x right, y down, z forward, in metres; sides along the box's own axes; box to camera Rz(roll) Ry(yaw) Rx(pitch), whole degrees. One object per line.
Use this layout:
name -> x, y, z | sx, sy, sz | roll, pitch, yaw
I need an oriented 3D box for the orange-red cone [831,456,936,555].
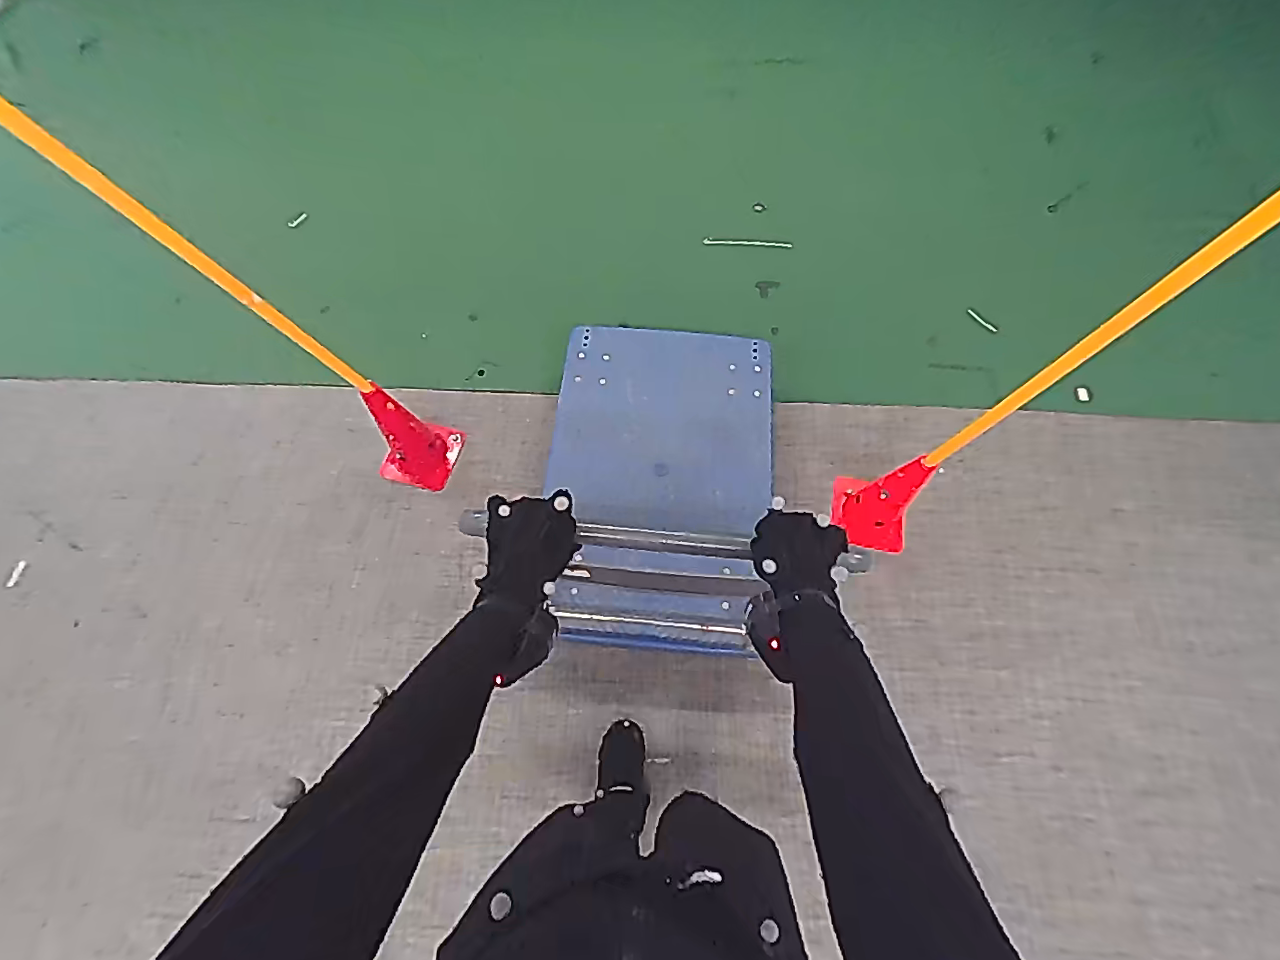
orange-red cone -> 0.643, 0.035, 1.361 | 0.198, 0.360, 0.199 | 12, 68, 5
